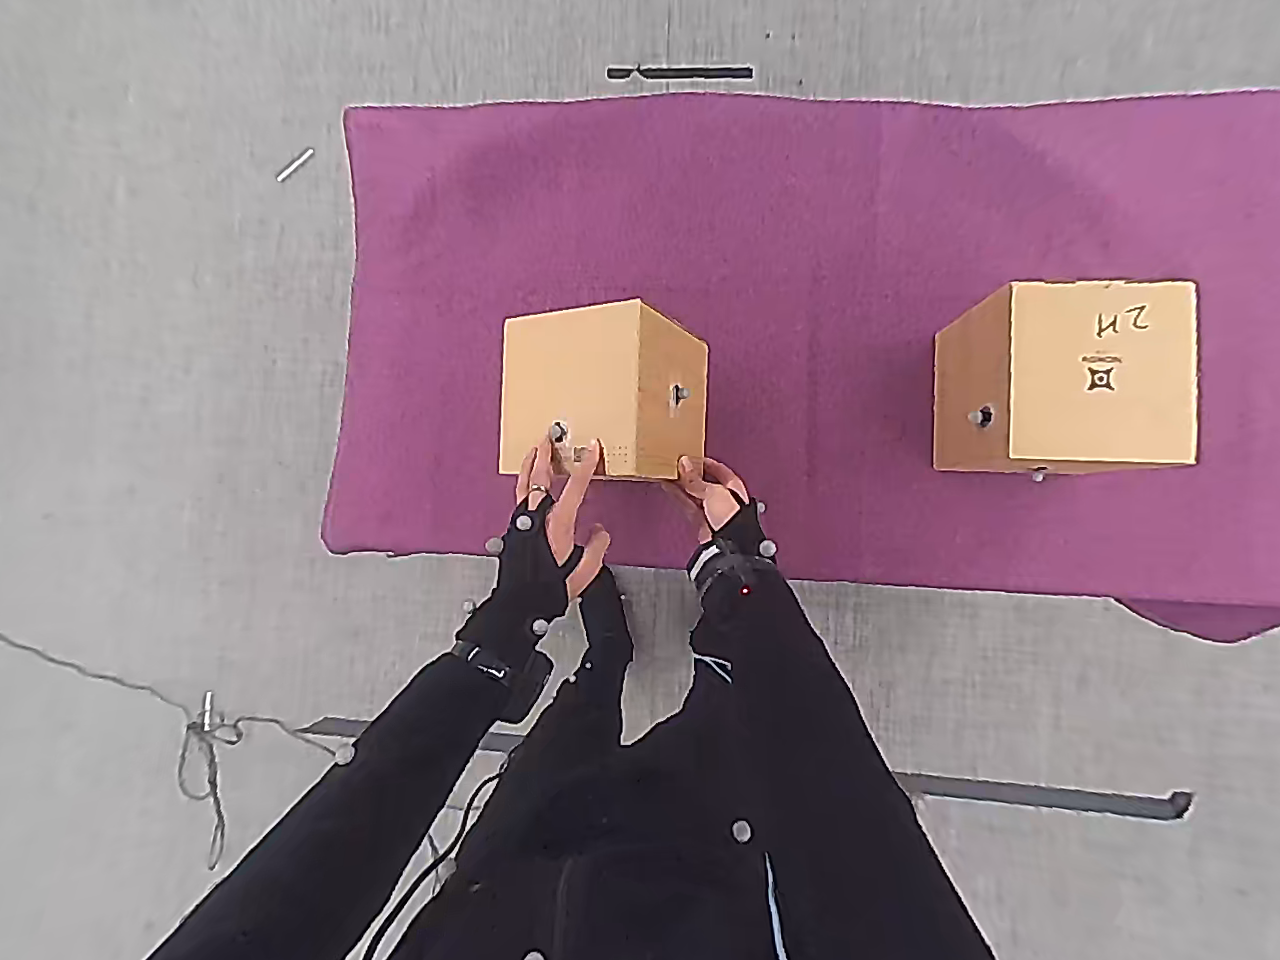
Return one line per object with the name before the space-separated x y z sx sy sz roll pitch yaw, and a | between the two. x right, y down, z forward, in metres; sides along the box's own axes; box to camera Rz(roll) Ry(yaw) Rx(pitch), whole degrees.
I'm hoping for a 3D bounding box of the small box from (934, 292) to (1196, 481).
small box | 0.447 -0.091 0.597 0.168 0.176 0.179 3 88 6
